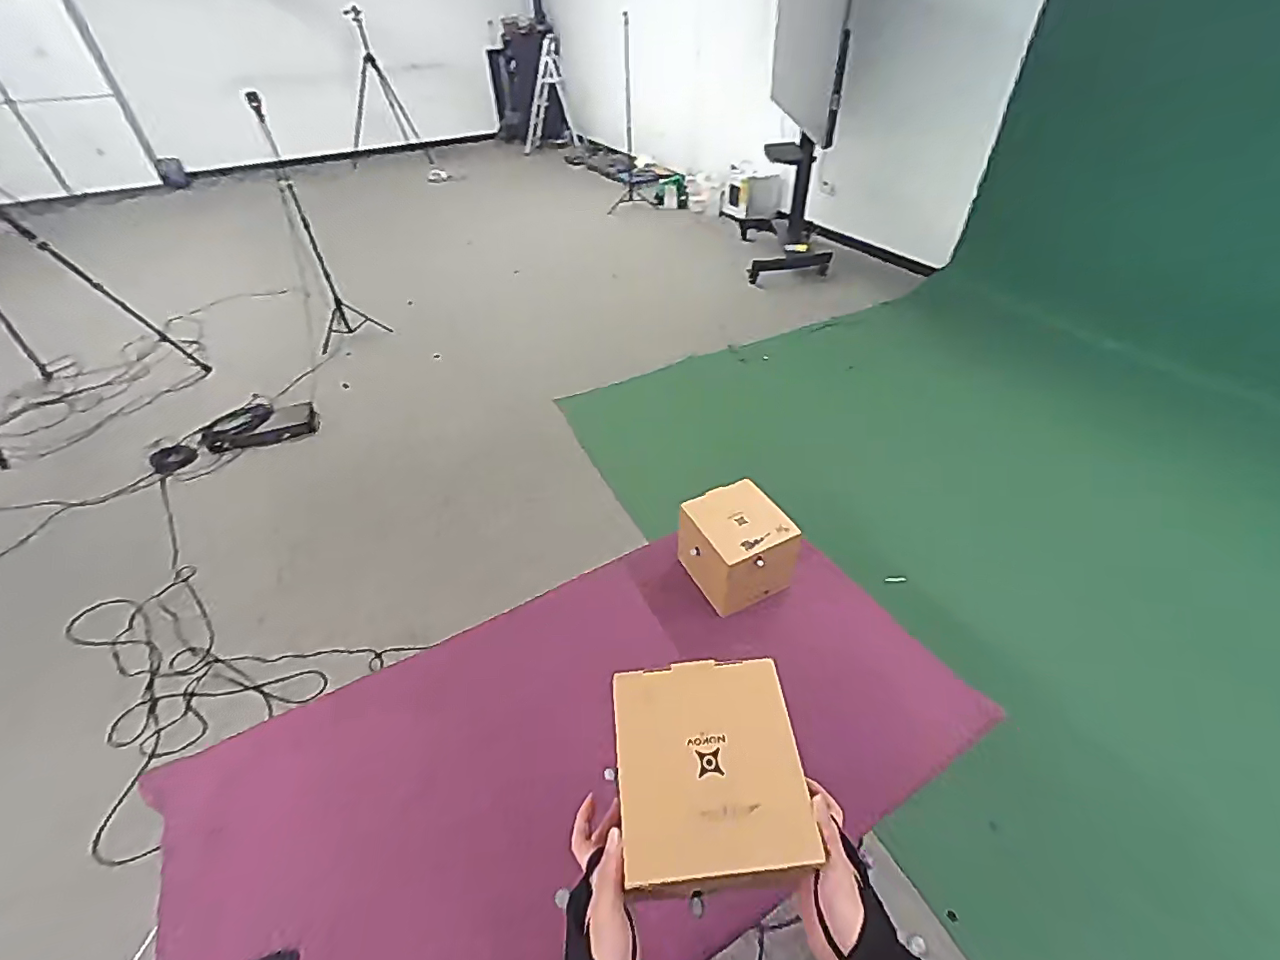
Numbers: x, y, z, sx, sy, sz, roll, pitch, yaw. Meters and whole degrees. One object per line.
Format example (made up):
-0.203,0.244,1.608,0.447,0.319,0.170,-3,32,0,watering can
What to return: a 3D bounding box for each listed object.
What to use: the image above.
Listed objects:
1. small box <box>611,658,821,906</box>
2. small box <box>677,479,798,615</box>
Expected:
0.057,0.299,0.536,0.168,0.176,0.179,-4,48,-2,small box
0.184,0.132,1.076,0.168,0.176,0.179,-21,45,-18,small box
